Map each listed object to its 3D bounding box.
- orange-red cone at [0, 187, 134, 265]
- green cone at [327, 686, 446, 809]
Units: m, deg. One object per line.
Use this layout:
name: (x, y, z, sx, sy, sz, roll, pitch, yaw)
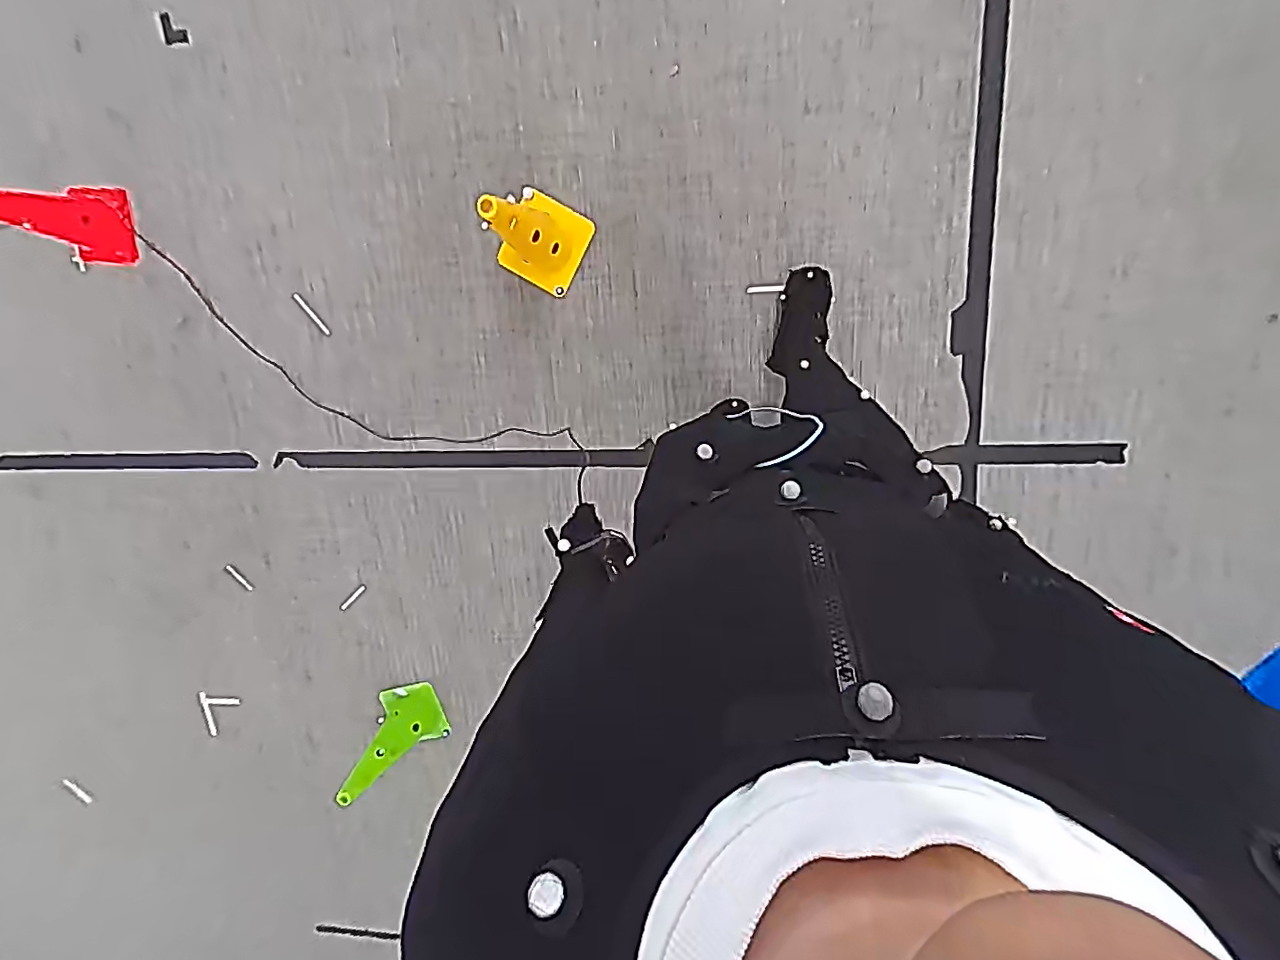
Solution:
orange-red cone: (-1.548, -0.676, 1.360, 0.199, 0.360, 0.198, 6, 105, 6)
green cone: (-0.773, 0.806, 1.593, 0.202, 0.368, 0.200, -16, 100, 13)
